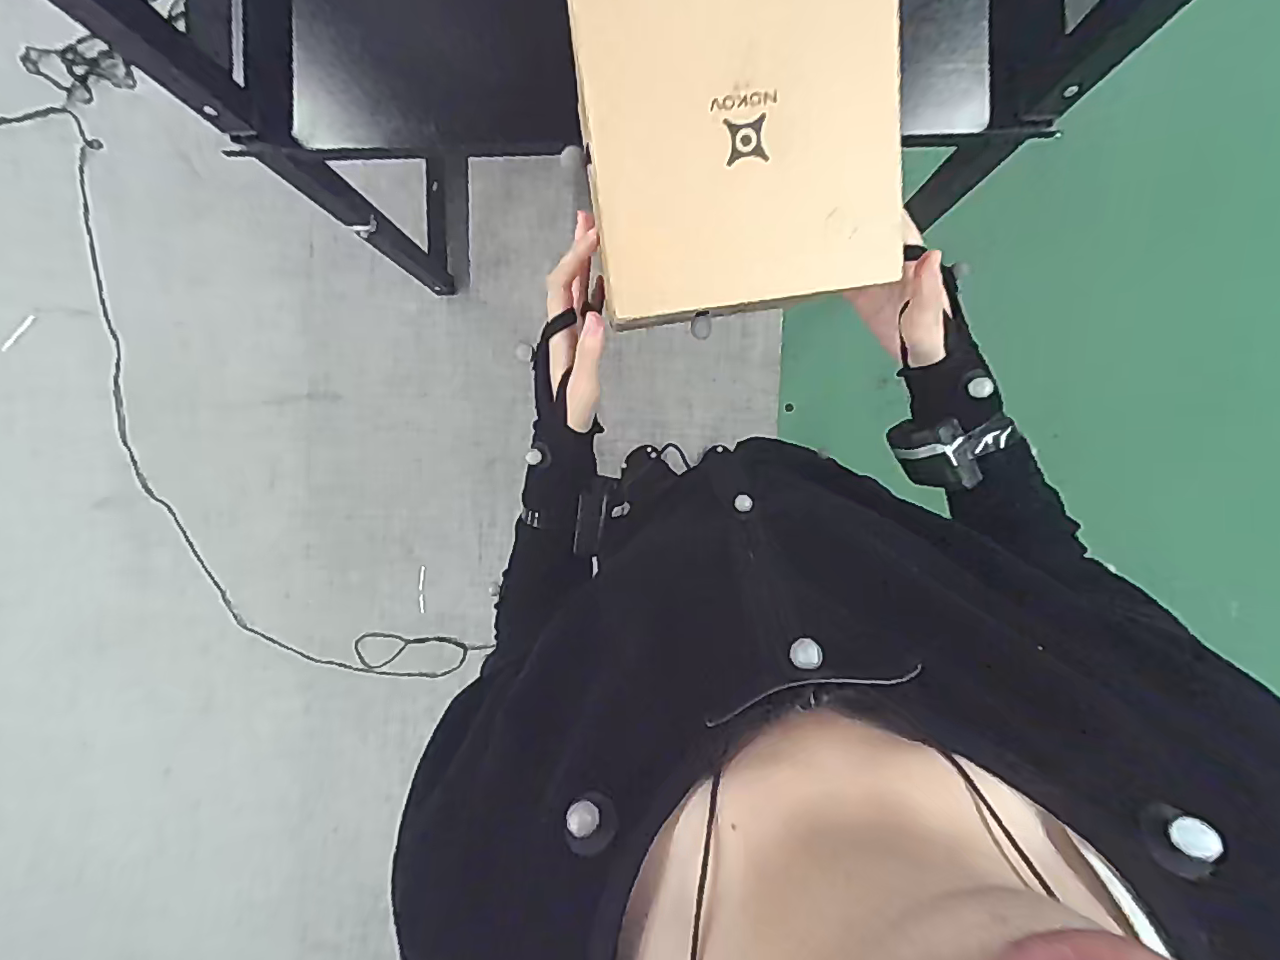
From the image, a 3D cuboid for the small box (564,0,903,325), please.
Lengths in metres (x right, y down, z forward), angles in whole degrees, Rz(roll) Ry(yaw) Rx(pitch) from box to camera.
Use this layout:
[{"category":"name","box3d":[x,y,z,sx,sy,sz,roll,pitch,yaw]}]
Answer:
[{"category":"small box","box3d":[0.051,-0.203,0.358,0.168,0.176,0.179,-9,101,-1]}]
